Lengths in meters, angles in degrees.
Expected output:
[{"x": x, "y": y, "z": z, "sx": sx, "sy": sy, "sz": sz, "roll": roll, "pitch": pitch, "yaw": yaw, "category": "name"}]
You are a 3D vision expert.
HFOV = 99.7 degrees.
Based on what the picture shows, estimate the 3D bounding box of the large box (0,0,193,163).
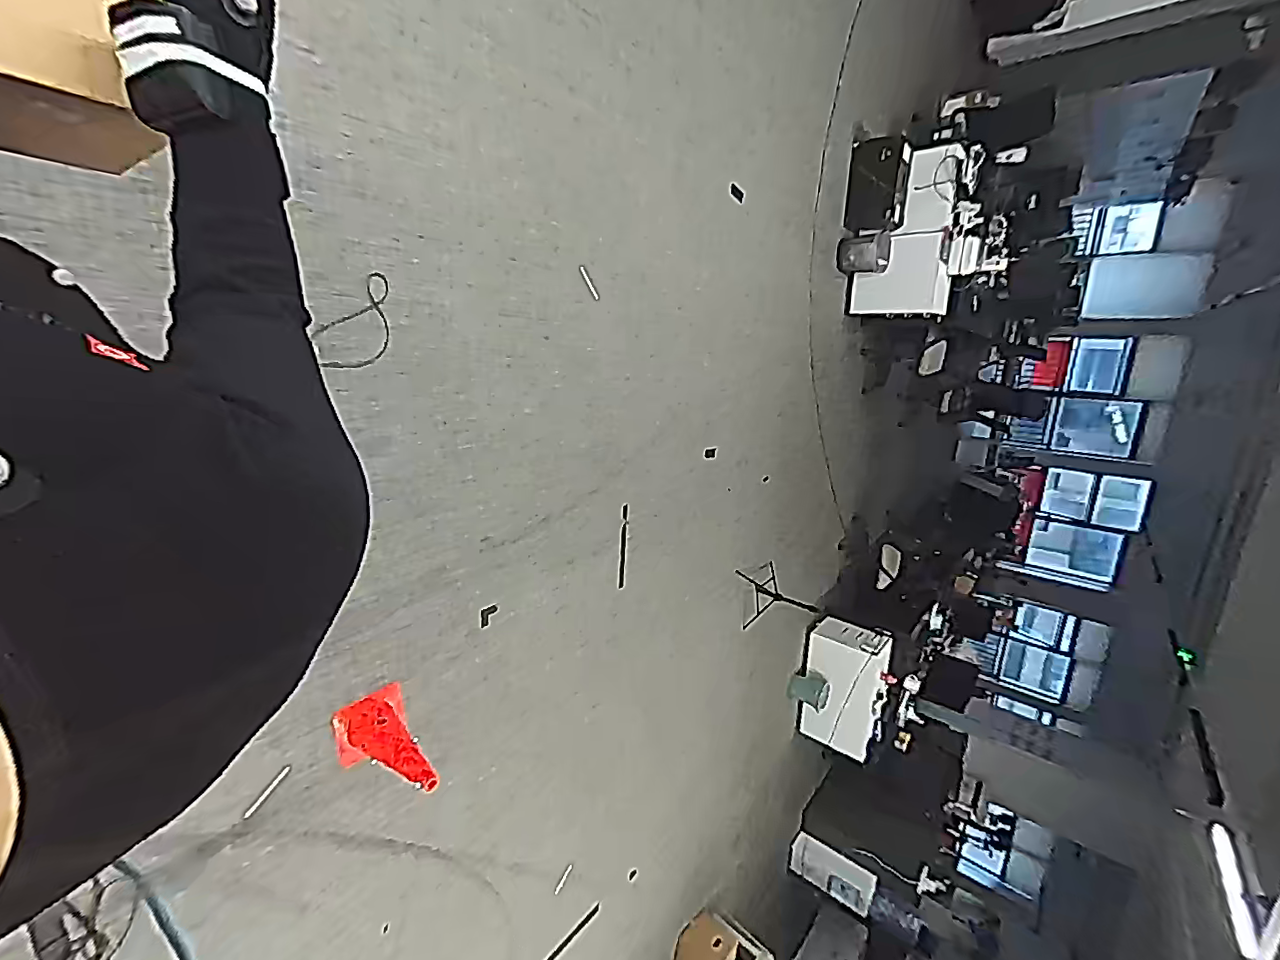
[{"x": -0.570, "y": -0.427, "z": 0.312, "sx": 0.408, "sy": 0.320, "sz": 0.320, "roll": -13, "pitch": 113, "yaw": -51, "category": "large box"}]

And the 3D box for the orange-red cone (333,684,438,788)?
[{"x": -0.689, "y": 0.770, "z": 1.536, "sx": 0.198, "sy": 0.360, "sz": 0.199, "roll": -18, "pitch": 113, "yaw": -49, "category": "orange-red cone"}]
